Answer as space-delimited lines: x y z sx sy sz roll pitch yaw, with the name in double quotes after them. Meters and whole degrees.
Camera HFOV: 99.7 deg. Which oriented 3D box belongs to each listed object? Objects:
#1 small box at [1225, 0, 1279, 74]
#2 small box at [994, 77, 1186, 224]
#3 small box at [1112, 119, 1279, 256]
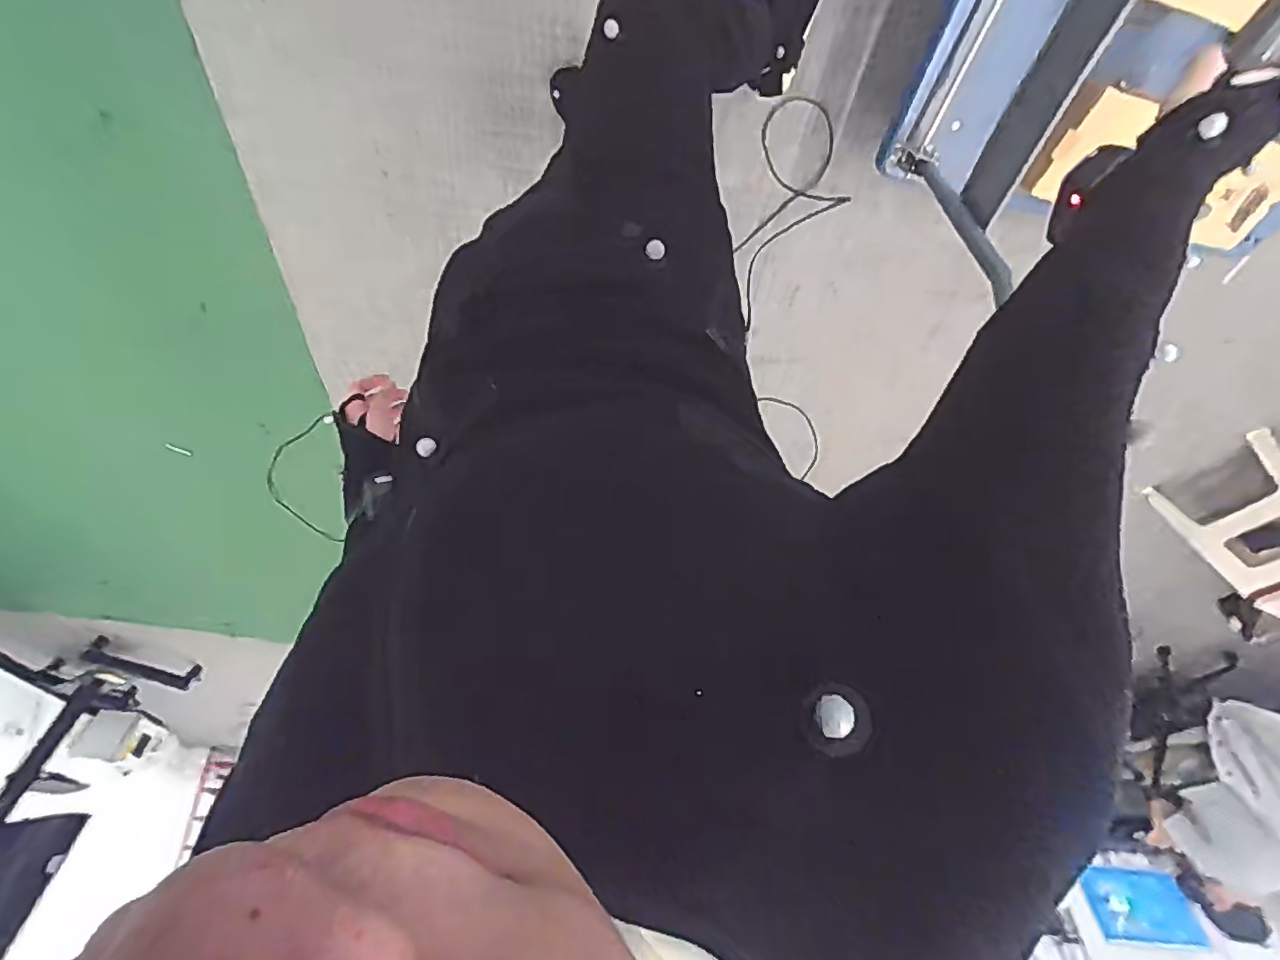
1.090 -0.717 0.829 0.179 0.176 0.168 8 138 -4 "small box"
0.799 -0.601 0.983 0.179 0.176 0.168 13 137 -7 "small box"
1.040 -0.551 1.014 0.179 0.176 0.168 10 137 -5 "small box"
